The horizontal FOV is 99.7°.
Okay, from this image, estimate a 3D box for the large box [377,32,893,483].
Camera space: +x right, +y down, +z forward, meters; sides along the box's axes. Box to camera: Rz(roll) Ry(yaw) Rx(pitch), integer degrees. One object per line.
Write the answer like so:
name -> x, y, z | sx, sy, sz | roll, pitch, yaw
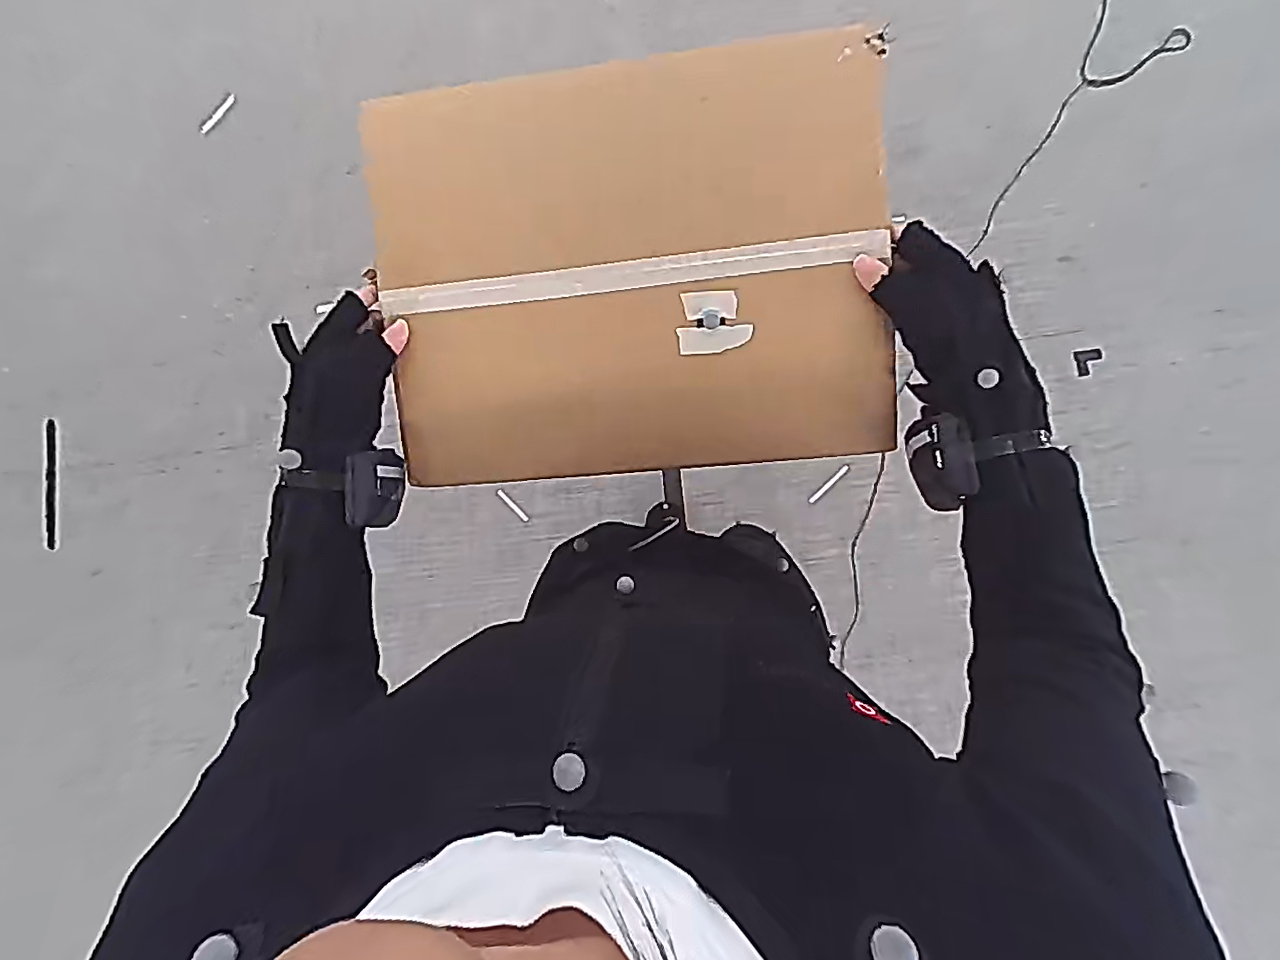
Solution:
large box -> 0.004, -0.184, 0.589 | 0.408, 0.320, 0.320 | -5, 97, 5
